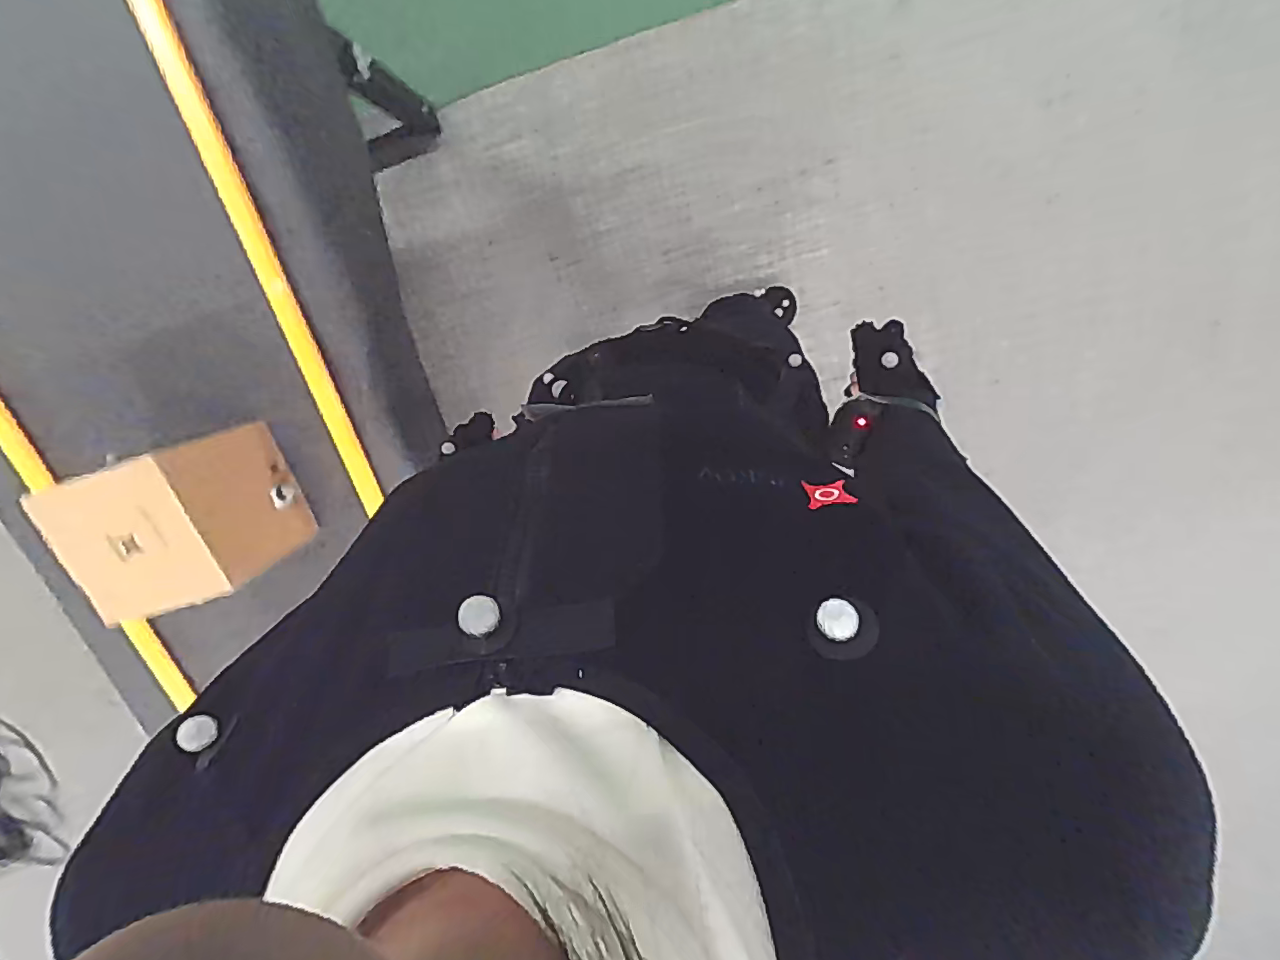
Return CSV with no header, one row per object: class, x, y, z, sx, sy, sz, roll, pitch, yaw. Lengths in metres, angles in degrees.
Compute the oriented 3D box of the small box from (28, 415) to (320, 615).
small box,-0.549,0.035,0.666,0.179,0.176,0.168,-17,108,8
